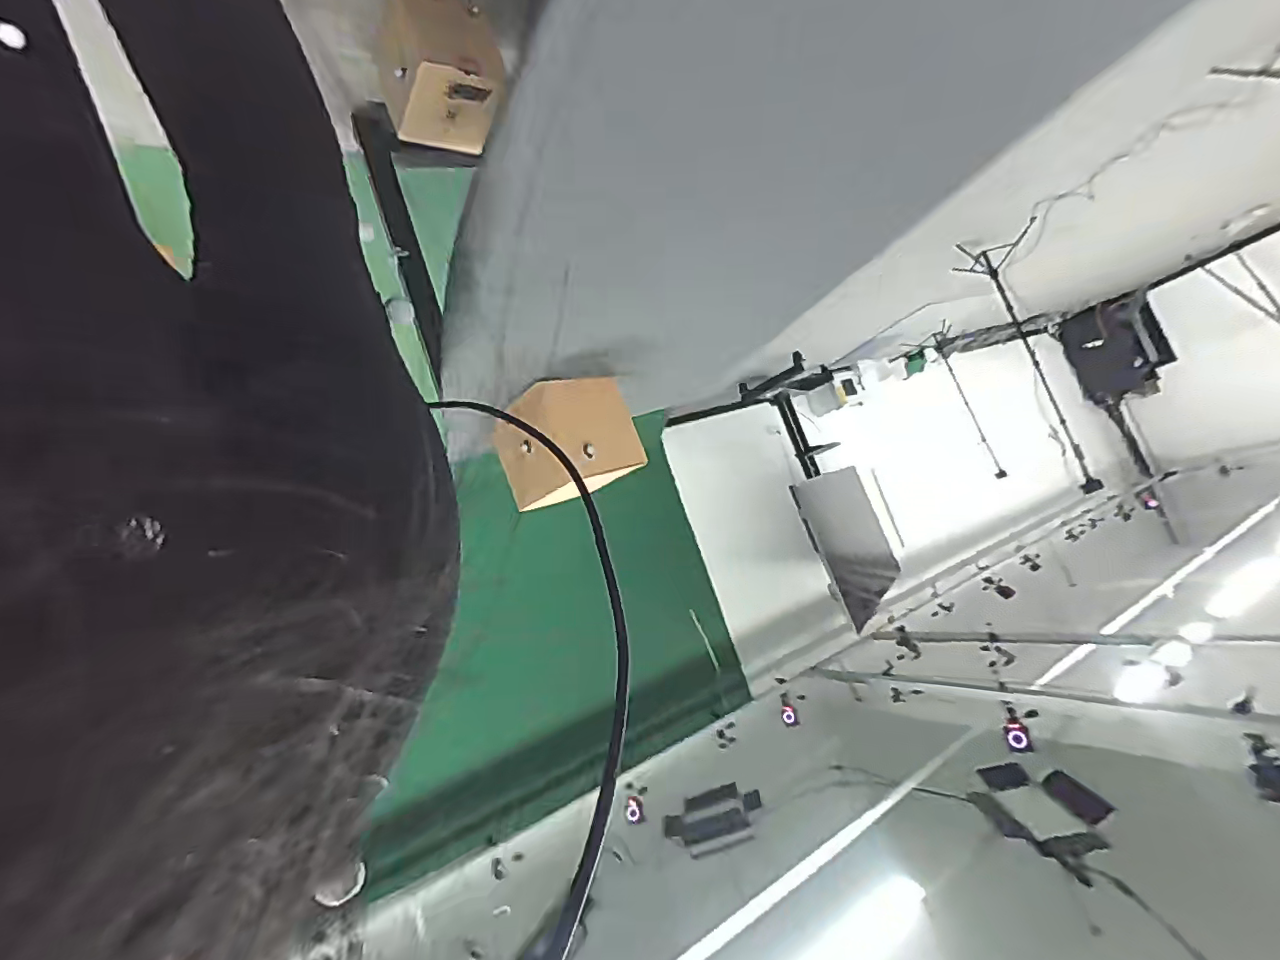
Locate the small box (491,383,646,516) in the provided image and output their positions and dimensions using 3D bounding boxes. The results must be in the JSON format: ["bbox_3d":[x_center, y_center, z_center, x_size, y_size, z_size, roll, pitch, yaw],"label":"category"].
[{"bbox_3d":[-0.127,-0.056,0.930,0.168,0.176,0.179,-26,173,42],"label":"small box"}]

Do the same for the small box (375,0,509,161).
[{"bbox_3d":[-0.373,-0.741,1.003,0.168,0.176,0.179,-14,173,-39],"label":"small box"}]
